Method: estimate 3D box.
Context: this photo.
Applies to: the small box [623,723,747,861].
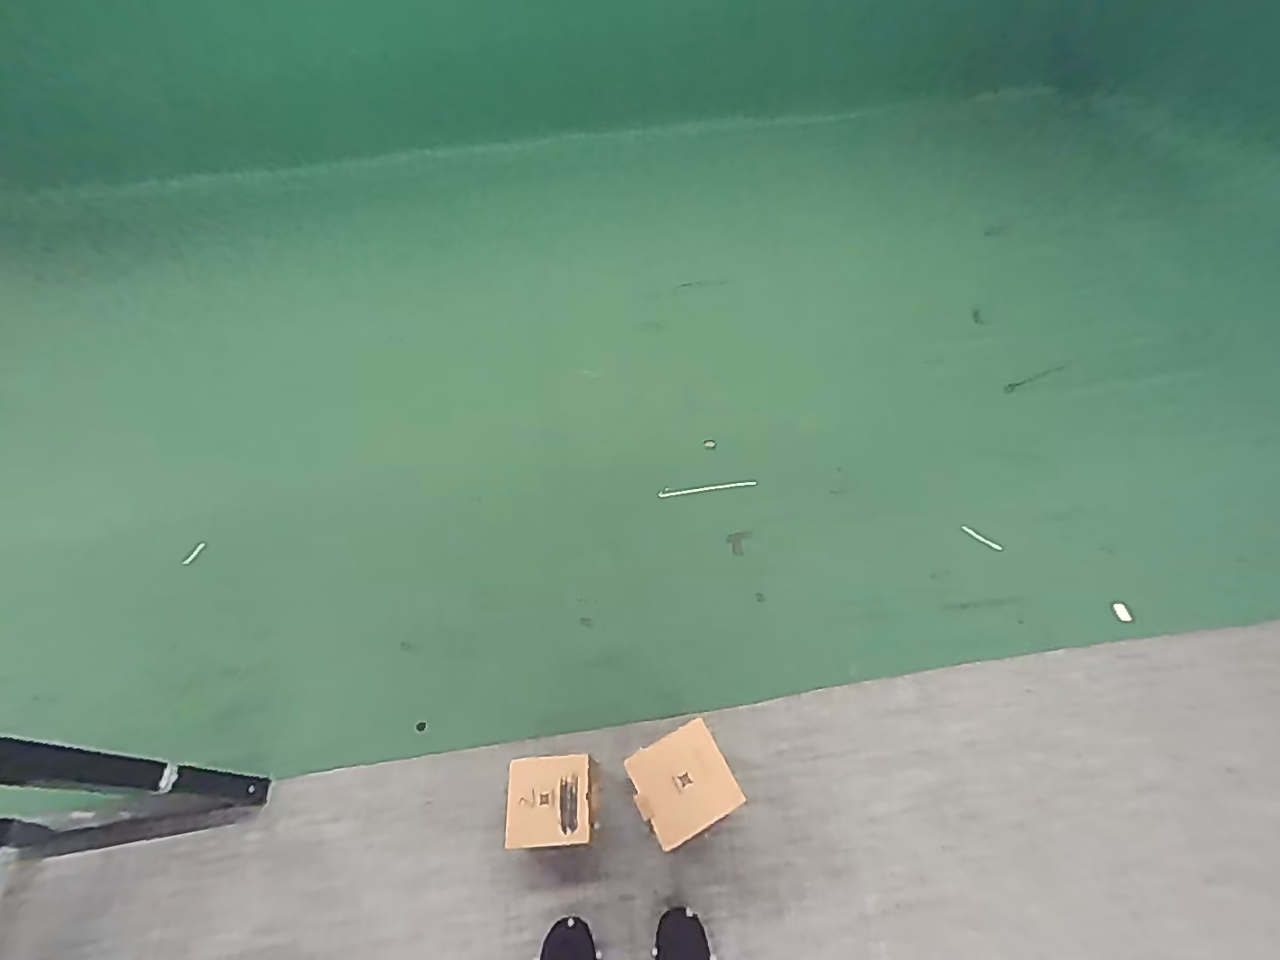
[{"bbox_3d":[0.083,0.605,1.049,0.179,0.176,0.168,-25,60,-14],"label":"small box"}]
